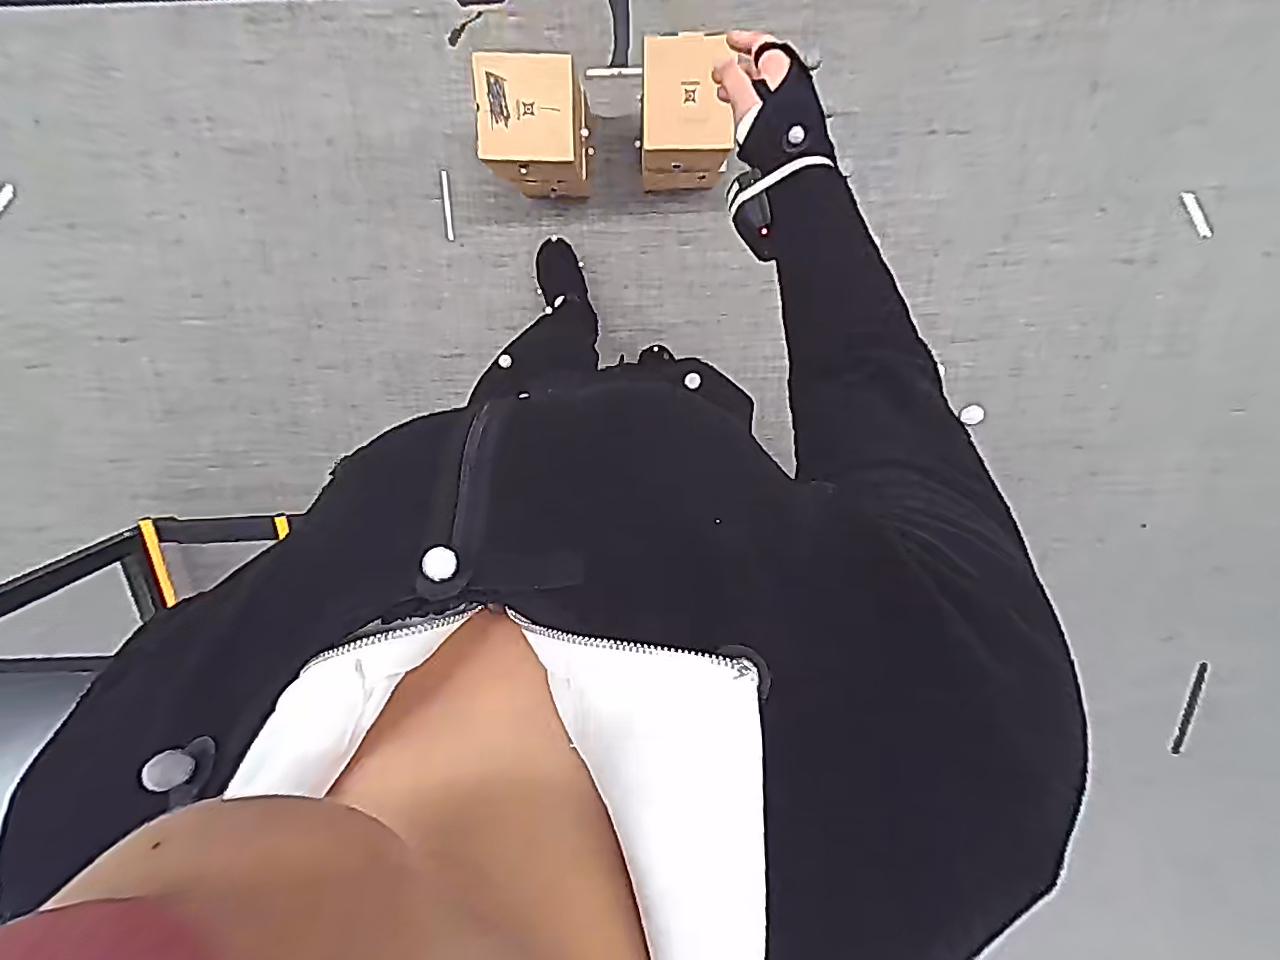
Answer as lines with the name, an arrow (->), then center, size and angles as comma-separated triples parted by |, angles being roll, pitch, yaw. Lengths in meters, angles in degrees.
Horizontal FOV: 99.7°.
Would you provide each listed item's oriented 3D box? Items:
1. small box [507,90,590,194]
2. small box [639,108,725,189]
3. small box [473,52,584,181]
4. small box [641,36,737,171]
small box -> -0.198, -0.740, 1.193 | 0.168, 0.176, 0.179 | 1, 109, -1
small box -> 0.088, -0.749, 1.192 | 0.179, 0.176, 0.168 | -2, 109, -1
small box -> -0.206, -0.684, 1.035 | 0.179, 0.176, 0.168 | 2, 108, -1
small box -> 0.086, -0.708, 1.035 | 0.168, 0.176, 0.179 | 0, 110, 0
